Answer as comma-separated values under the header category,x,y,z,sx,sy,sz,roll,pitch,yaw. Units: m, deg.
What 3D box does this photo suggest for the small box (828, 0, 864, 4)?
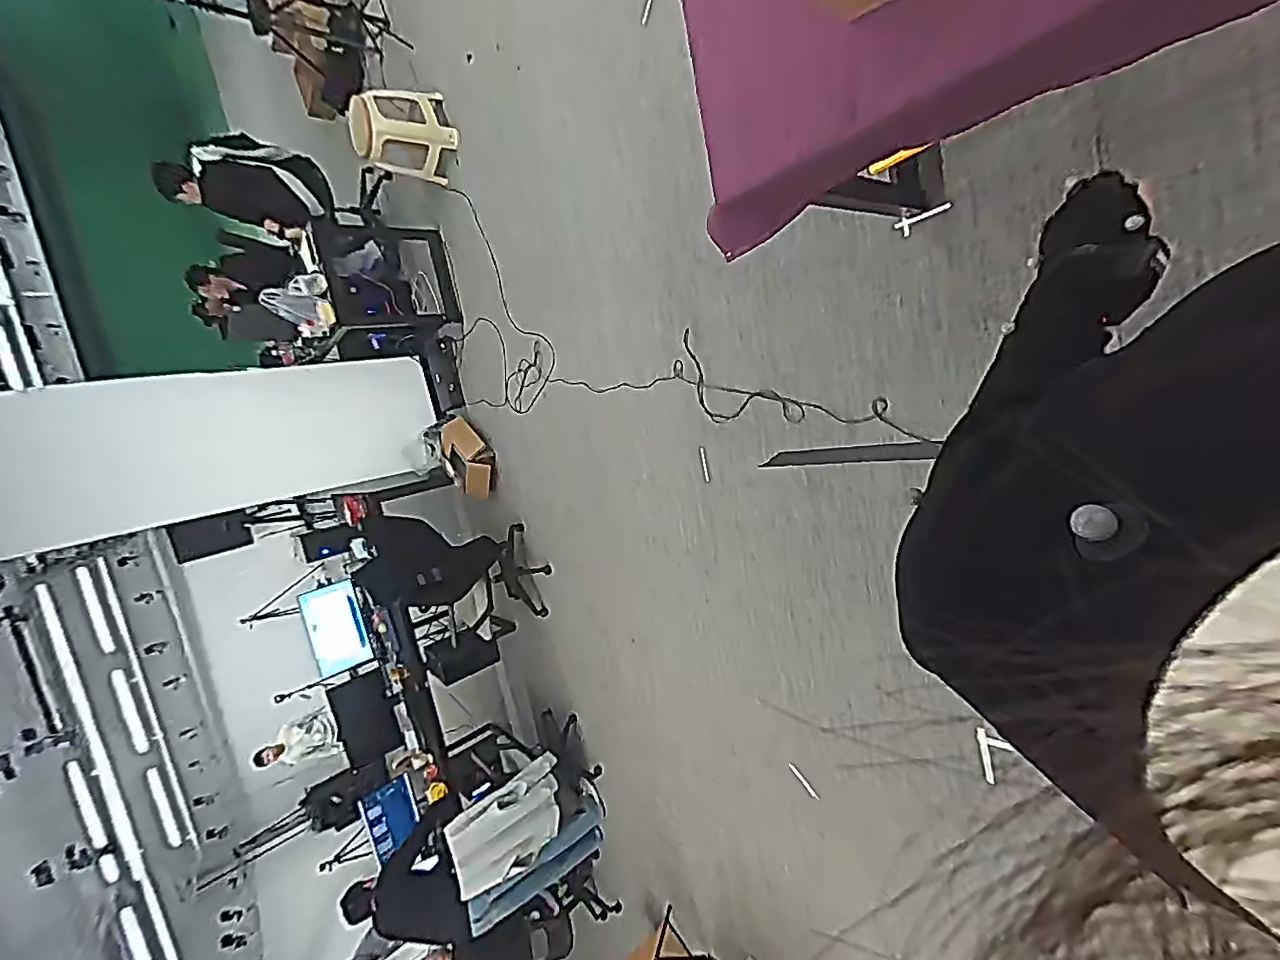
category,x,y,z,sx,sy,sz,roll,pitch,yaw
small box,0.259,-0.667,0.589,0.168,0.176,0.179,14,114,46
